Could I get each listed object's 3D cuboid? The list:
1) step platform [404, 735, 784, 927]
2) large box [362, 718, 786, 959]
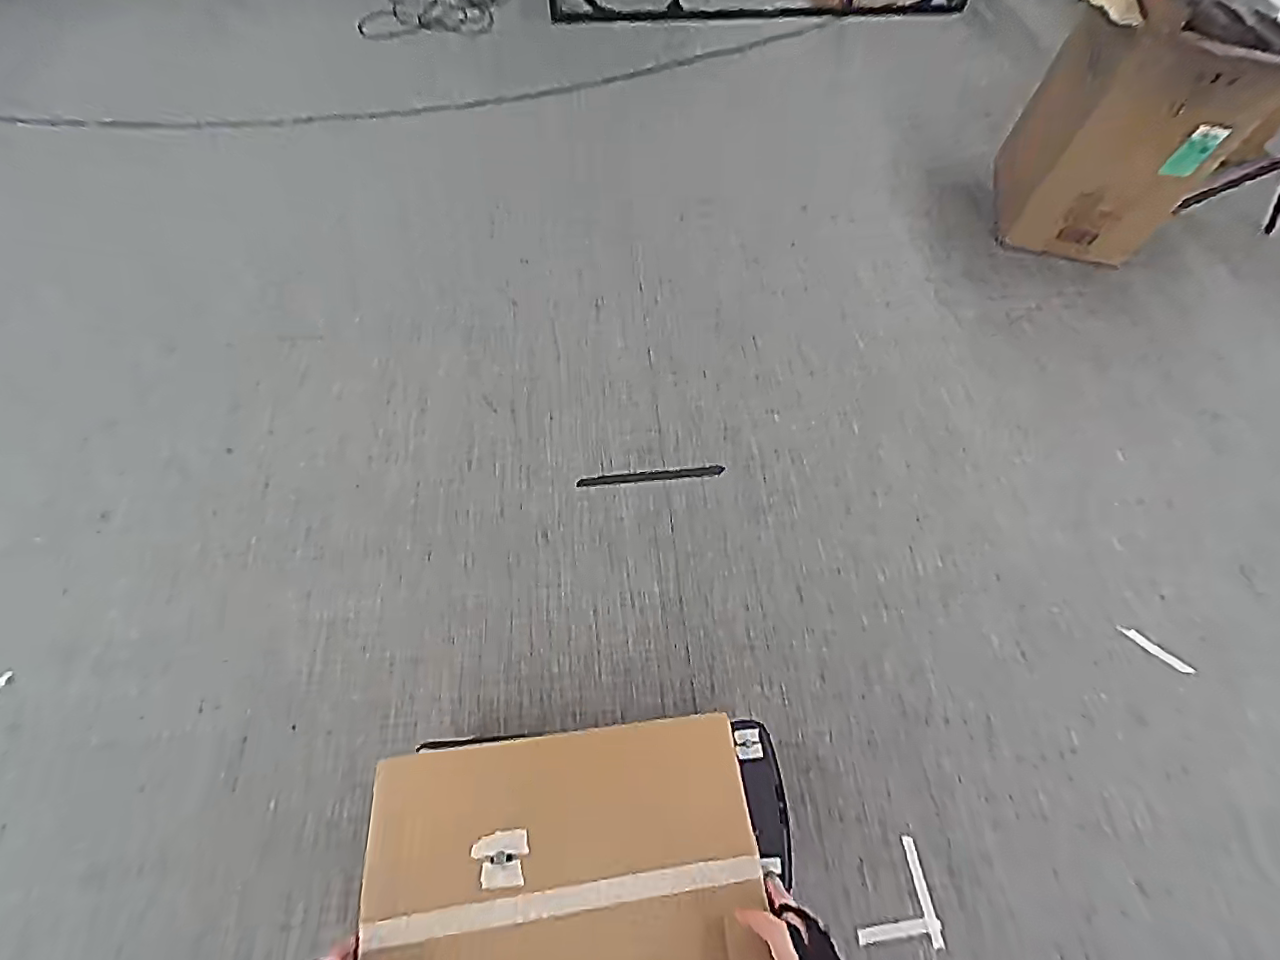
[{"bbox_3d":[-0.092,0.627,0.978,0.684,0.204,0.286,1,62,1],"label":"step platform"},{"bbox_3d":[-0.070,0.507,0.655,0.408,0.320,0.320,-6,56,-6],"label":"large box"}]
